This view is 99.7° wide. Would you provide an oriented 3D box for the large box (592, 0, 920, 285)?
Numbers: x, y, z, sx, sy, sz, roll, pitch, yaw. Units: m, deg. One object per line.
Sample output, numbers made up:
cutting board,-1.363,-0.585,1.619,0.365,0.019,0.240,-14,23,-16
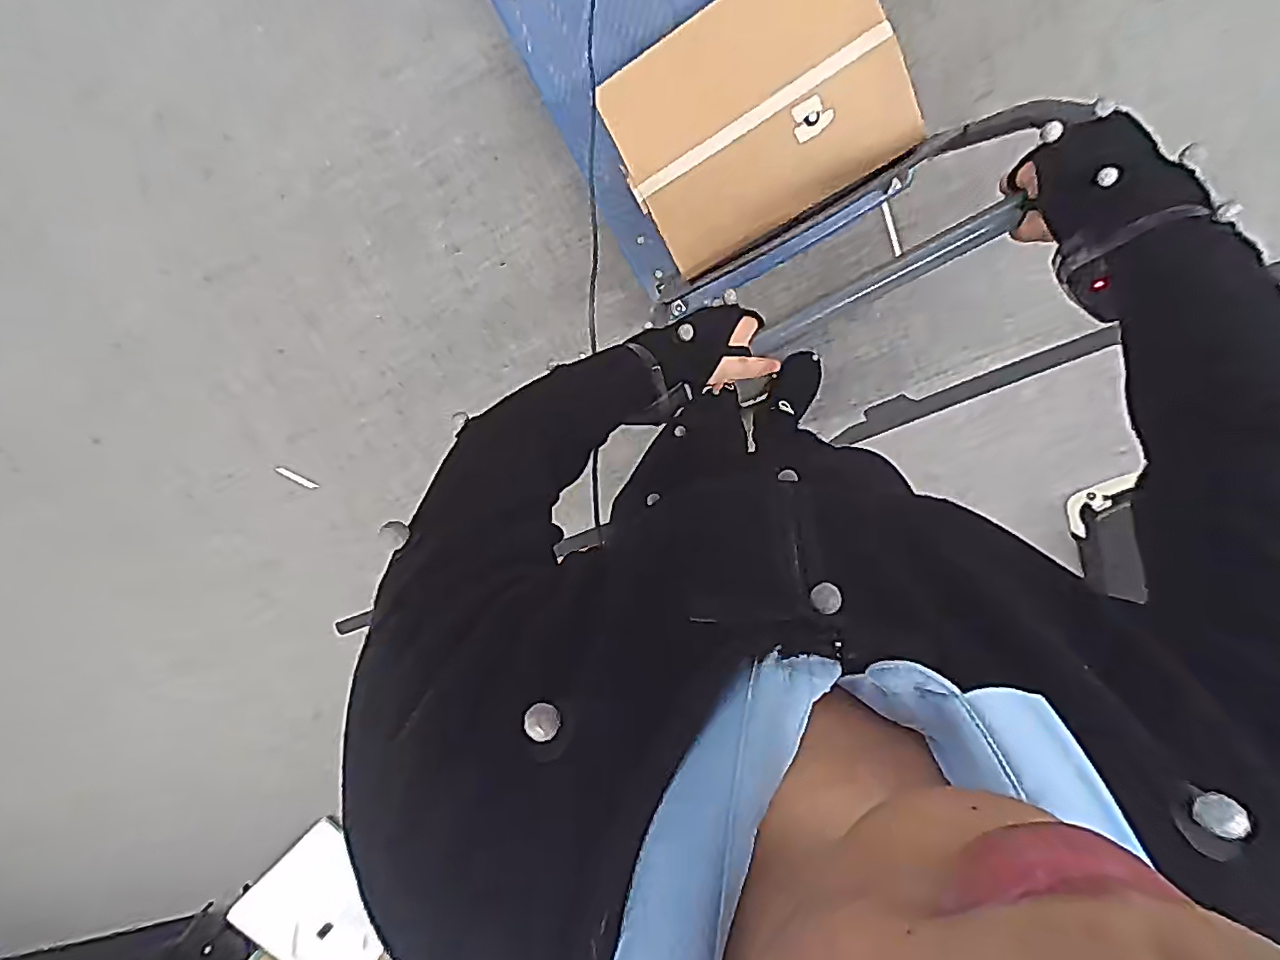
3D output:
large box,0.183,-0.585,0.943,0.408,0.320,0.320,-27,107,15
